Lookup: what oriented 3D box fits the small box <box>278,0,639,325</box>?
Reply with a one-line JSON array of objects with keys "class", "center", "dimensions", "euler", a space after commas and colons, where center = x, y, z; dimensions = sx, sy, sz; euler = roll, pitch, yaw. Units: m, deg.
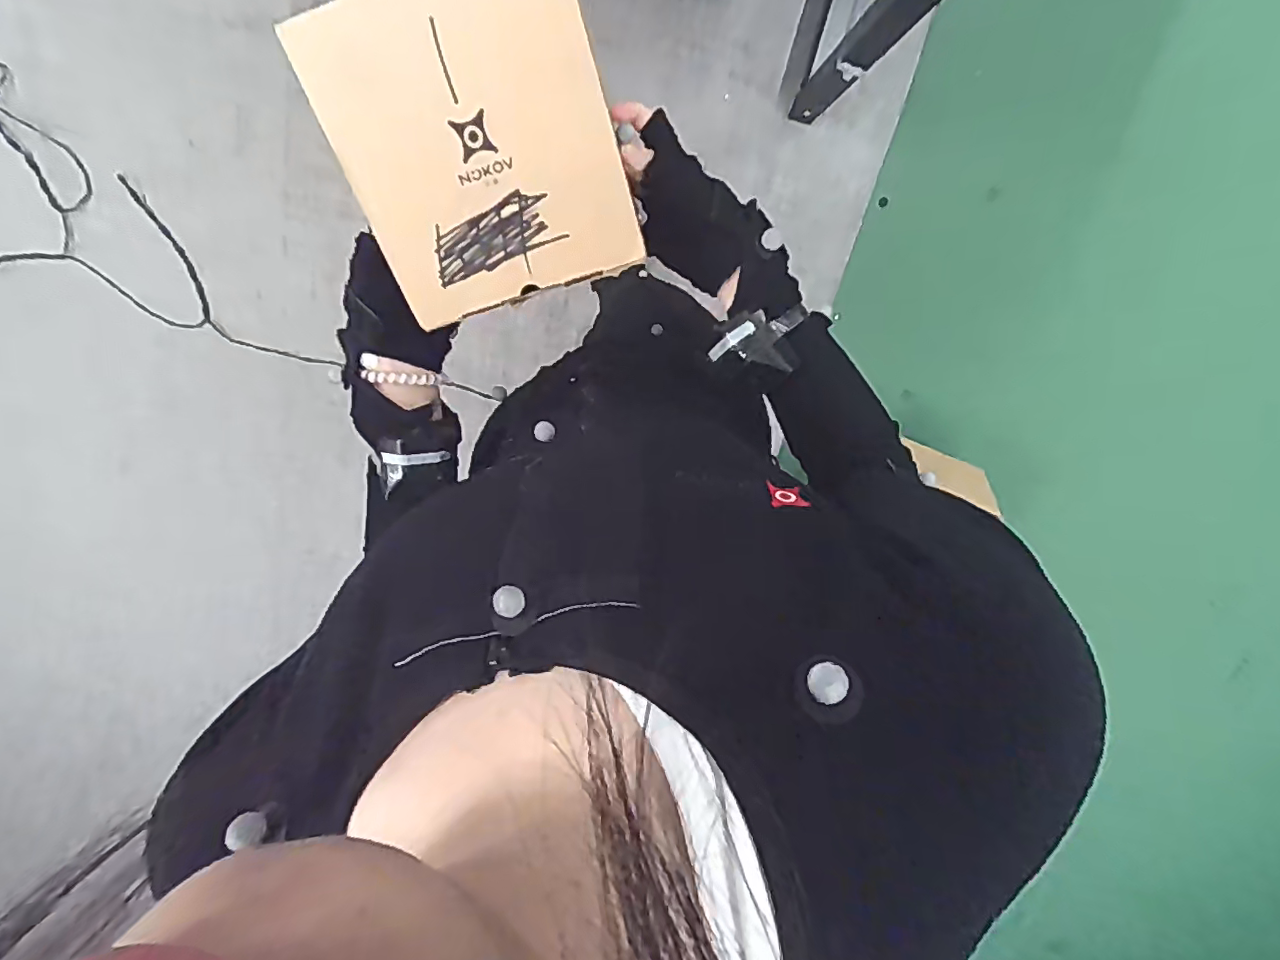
[{"class": "small box", "center": [-0.100, -0.237, 0.396], "dimensions": [0.168, 0.176, 0.179], "euler": [-15, 117, 6]}]
